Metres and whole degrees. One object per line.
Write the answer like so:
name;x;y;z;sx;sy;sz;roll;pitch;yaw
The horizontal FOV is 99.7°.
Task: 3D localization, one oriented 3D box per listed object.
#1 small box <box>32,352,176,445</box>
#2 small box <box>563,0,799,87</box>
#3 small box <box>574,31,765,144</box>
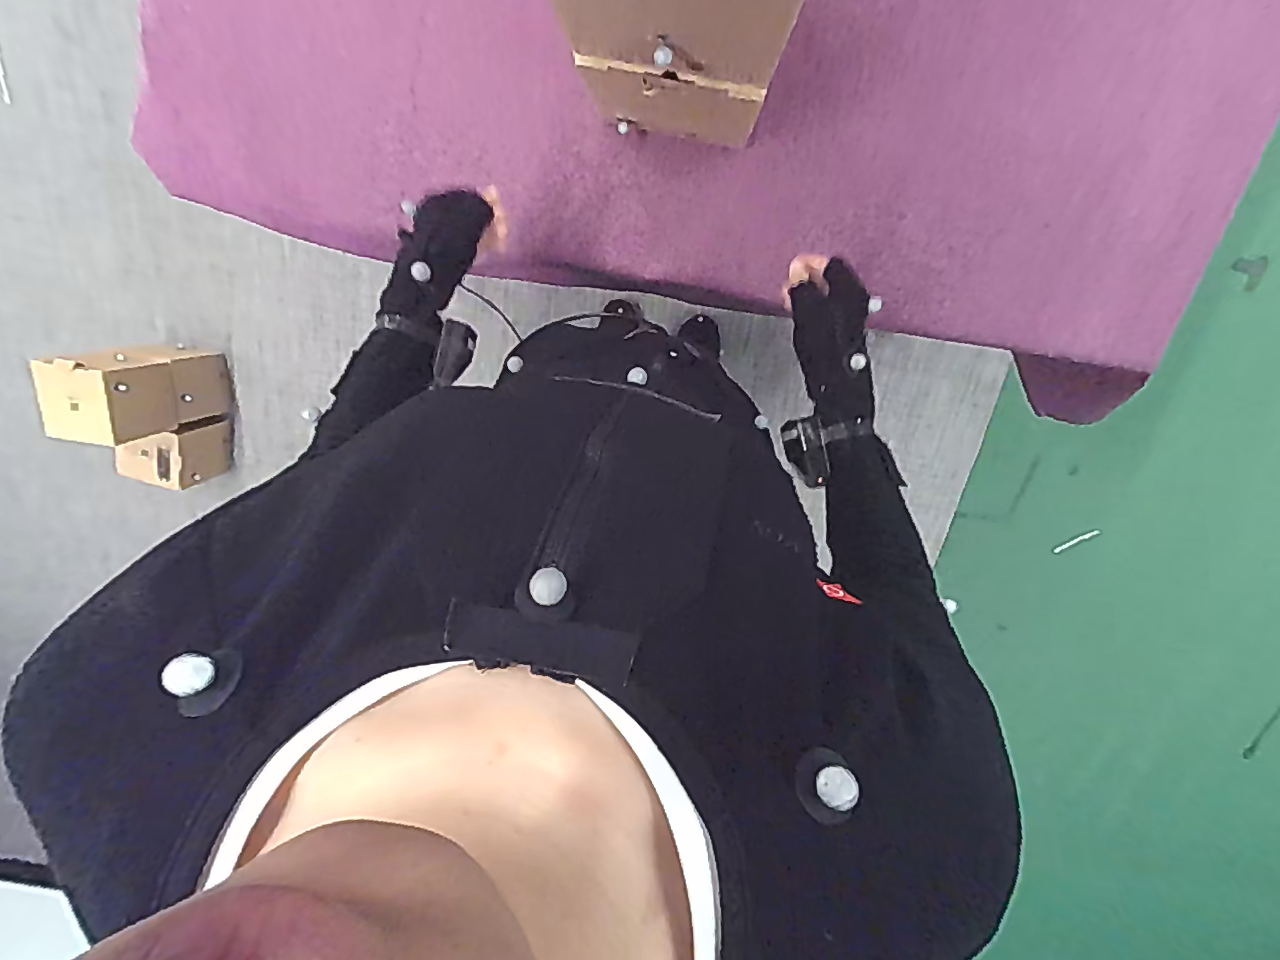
small box;-1.252;-0.198;1.280;0.168;0.176;0.179;9;109;1
small box;0.034;-0.396;0.347;0.168;0.176;0.179;12;110;0
small box;0.046;-0.441;0.504;0.168;0.176;0.179;12;109;0
